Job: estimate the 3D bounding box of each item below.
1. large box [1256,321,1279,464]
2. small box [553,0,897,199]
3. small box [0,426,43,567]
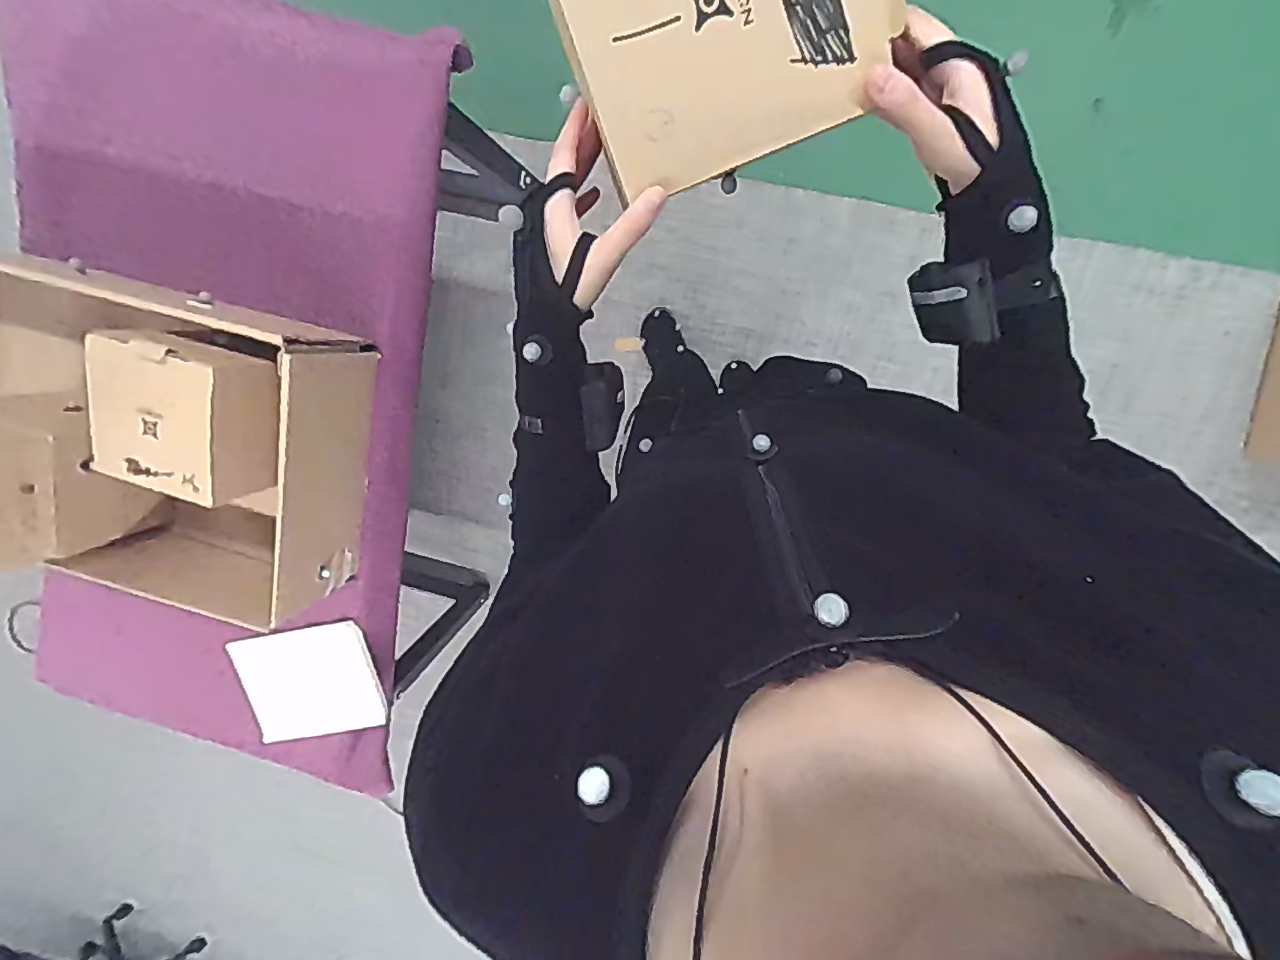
[{"bbox_3d":[1.594,-0.215,1.094,0.320,0.320,0.408,0,102,8],"label":"large box"},{"bbox_3d":[0.042,-0.308,0.368,0.179,0.176,0.168,-19,115,6],"label":"small box"},{"bbox_3d":[-0.838,0.020,0.608,0.179,0.176,0.168,16,105,3],"label":"small box"}]
